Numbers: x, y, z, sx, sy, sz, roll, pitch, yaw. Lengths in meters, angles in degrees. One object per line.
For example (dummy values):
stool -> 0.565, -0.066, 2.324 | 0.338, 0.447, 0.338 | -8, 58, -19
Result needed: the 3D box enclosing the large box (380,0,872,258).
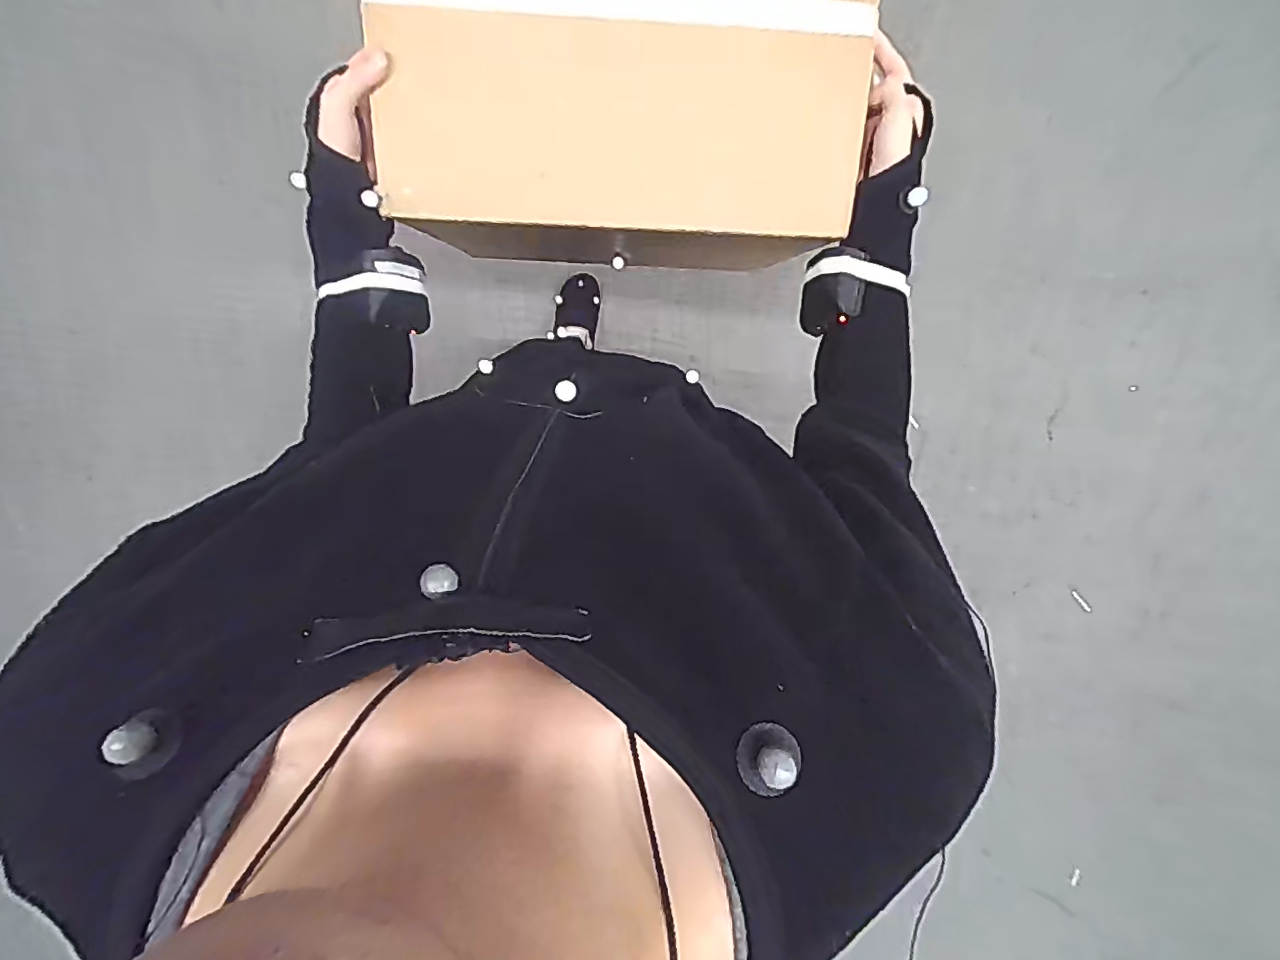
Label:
large box -> -0.013, -0.419, 0.579 | 0.408, 0.320, 0.320 | 1, 106, -3
